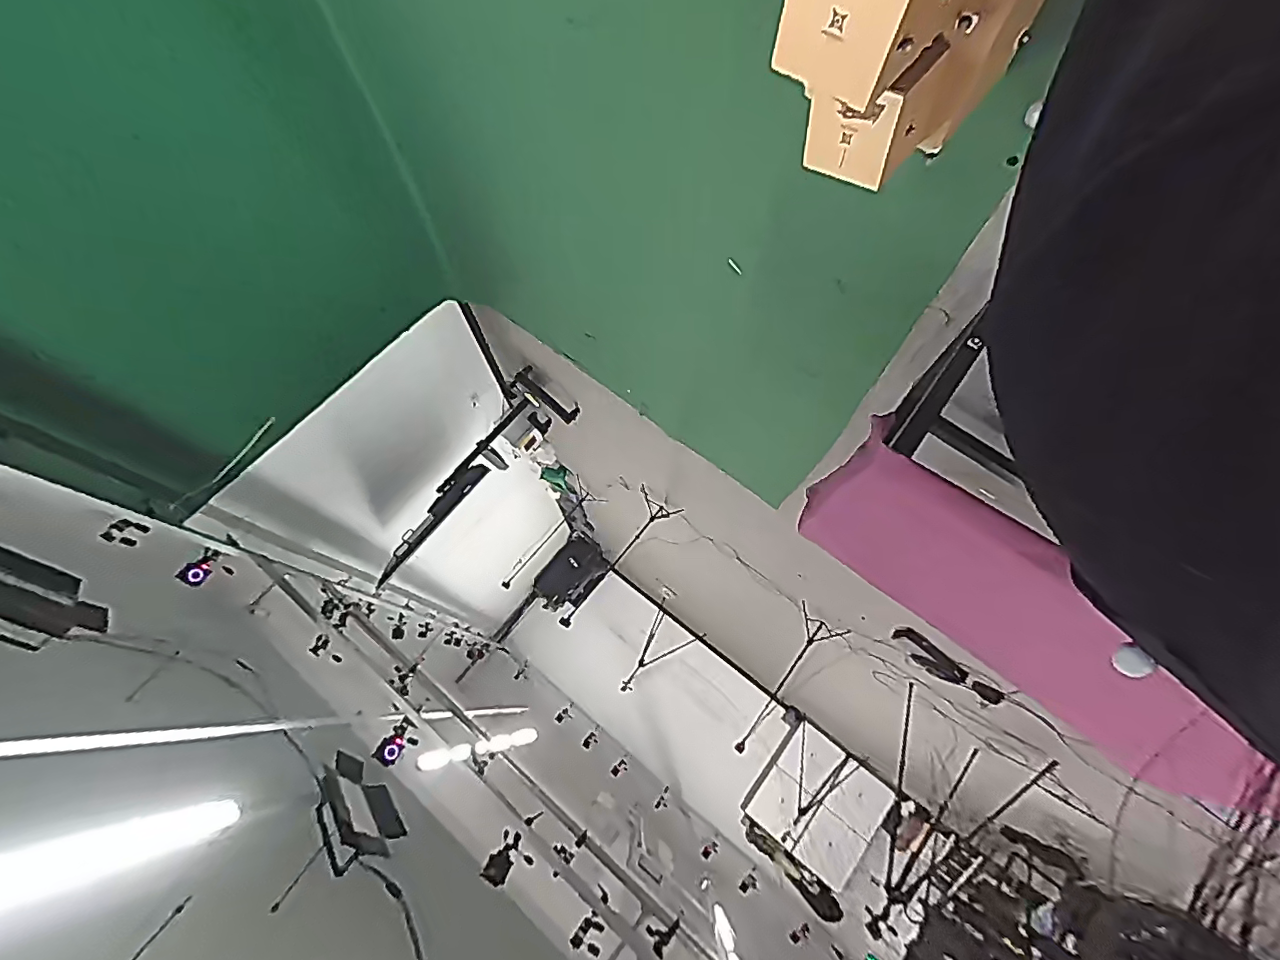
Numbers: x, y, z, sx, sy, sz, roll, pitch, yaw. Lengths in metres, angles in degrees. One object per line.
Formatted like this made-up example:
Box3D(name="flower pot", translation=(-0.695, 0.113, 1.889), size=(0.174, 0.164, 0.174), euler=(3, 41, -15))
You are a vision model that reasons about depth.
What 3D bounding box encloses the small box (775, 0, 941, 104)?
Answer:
Box3D(name="small box", translation=(0.318, -0.682, 0.745), size=(0.168, 0.176, 0.179), euler=(36, 164, 12))
